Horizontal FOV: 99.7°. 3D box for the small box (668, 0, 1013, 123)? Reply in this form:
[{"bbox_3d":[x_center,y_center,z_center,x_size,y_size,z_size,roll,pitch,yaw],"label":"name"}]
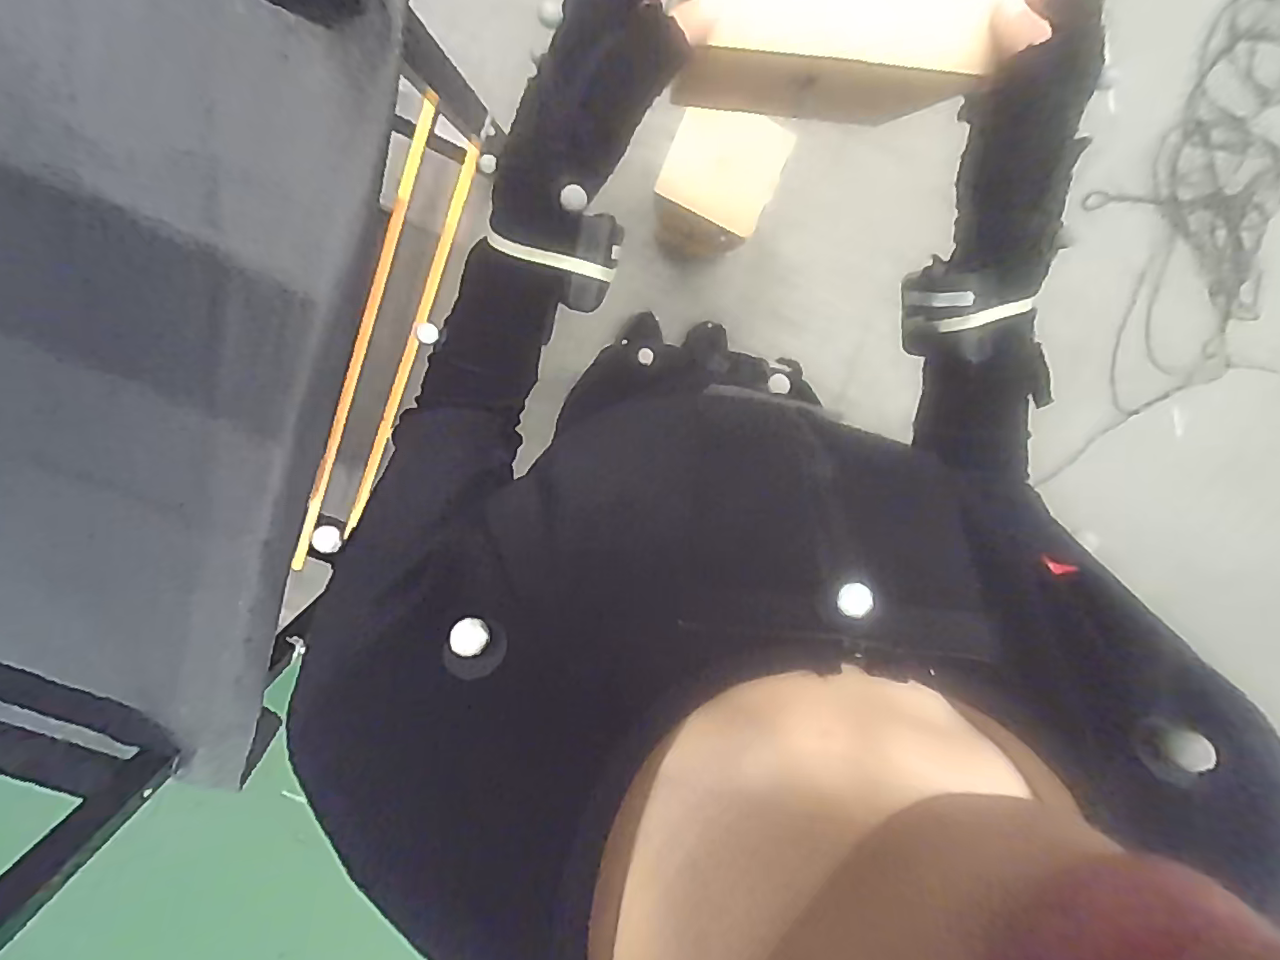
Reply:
[{"bbox_3d":[0.113,-0.333,0.332,0.179,0.176,0.168,4,117,-3],"label":"small box"}]

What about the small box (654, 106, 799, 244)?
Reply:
[{"bbox_3d":[0.133,-0.515,0.910,0.179,0.176,0.168,24,107,-7],"label":"small box"}]
